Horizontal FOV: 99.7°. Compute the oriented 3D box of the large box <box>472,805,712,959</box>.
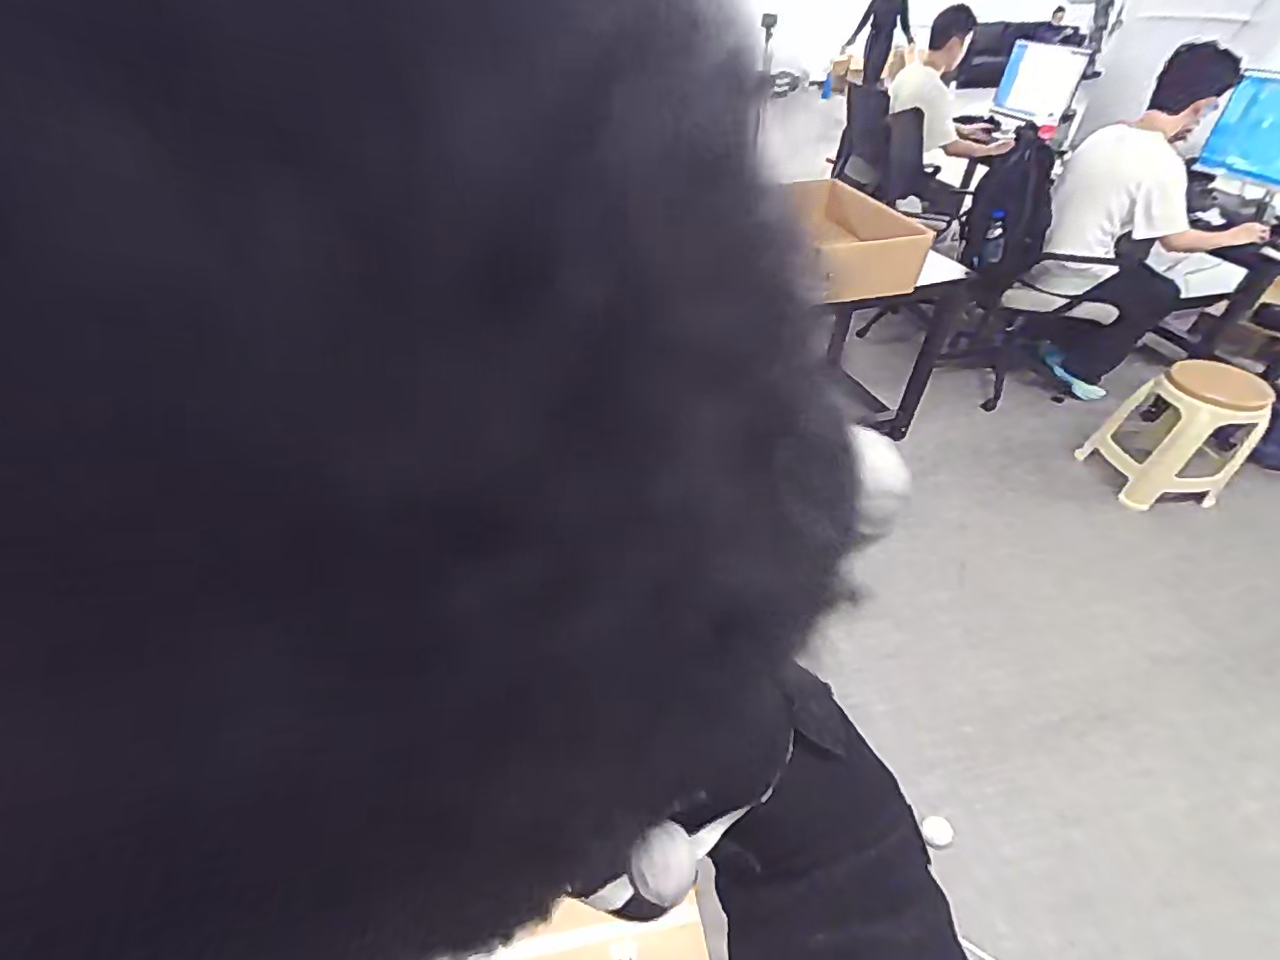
[{"bbox_3d":[-0.088,0.878,1.034,0.408,0.320,0.320,-7,44,-6],"label":"large box"}]
